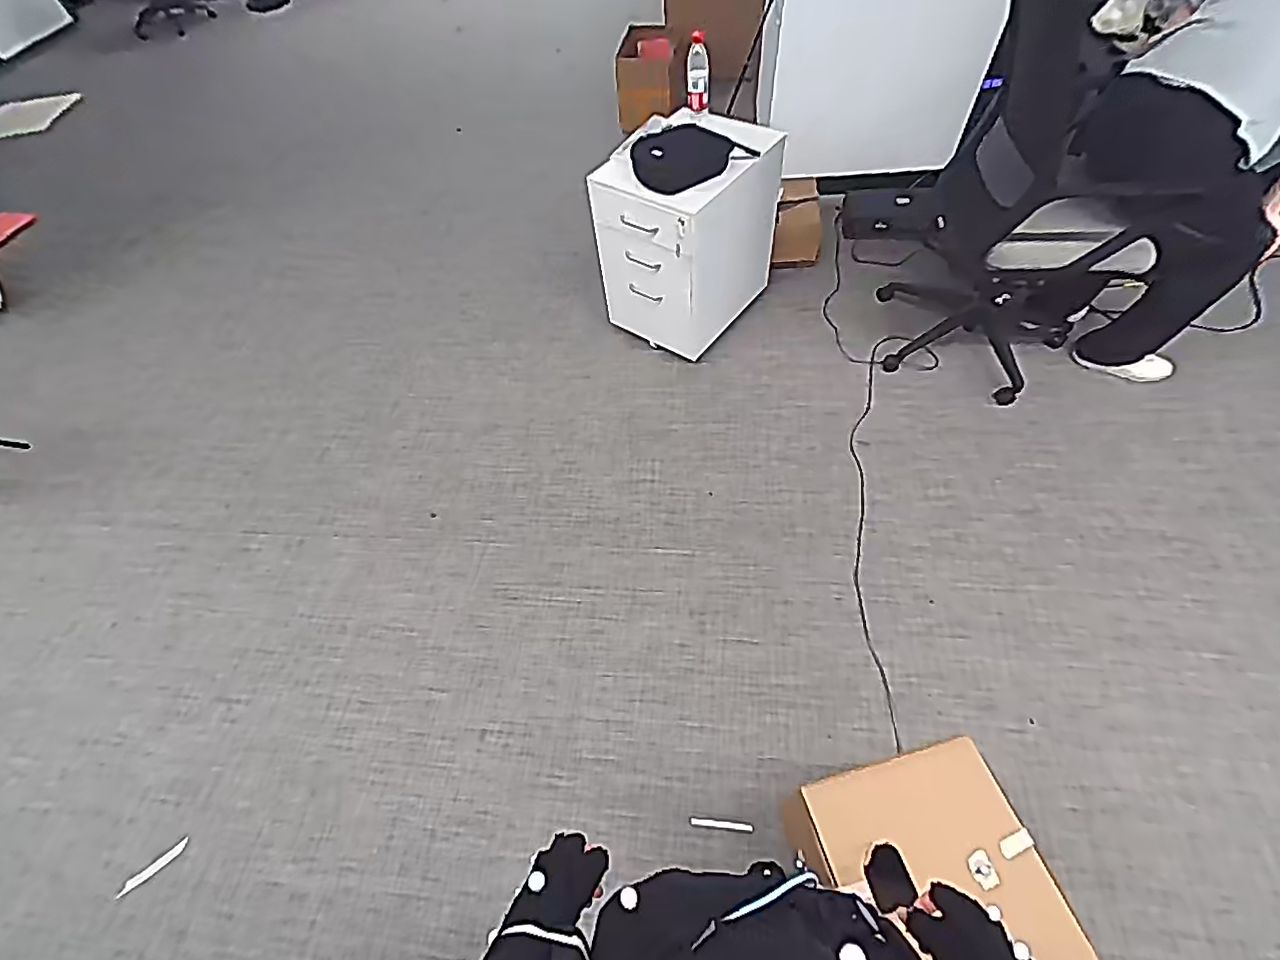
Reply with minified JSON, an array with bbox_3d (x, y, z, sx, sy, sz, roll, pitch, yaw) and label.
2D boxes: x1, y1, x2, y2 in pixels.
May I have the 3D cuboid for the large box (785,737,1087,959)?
[{"bbox_3d":[0.487,0.713,0.999,0.320,0.408,0.320,-17,55,-1],"label":"large box"}]
